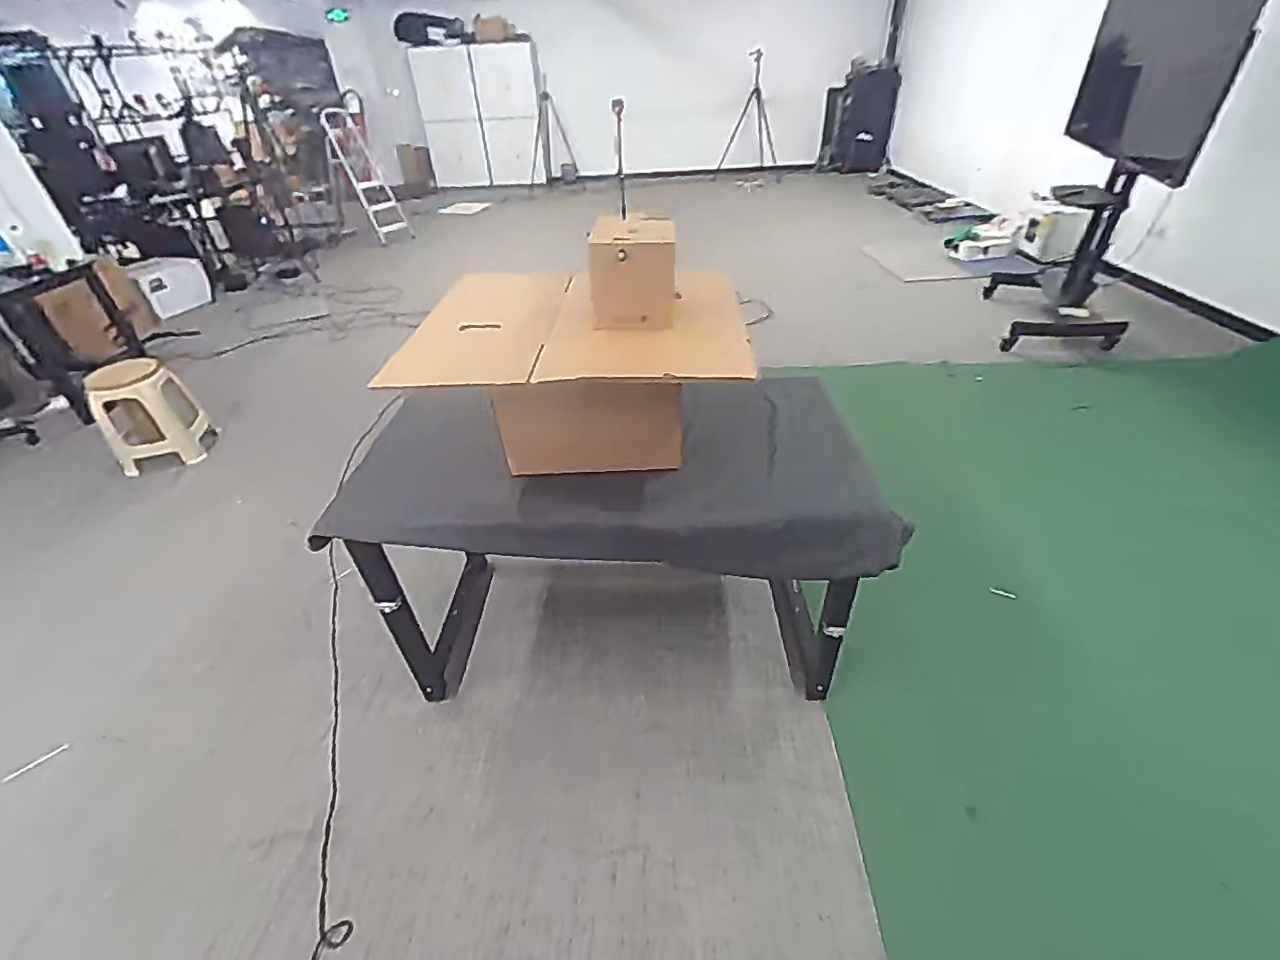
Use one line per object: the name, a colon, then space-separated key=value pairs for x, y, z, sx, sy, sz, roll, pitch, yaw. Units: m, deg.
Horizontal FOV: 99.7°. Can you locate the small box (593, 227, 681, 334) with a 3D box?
small box: x=0.000 y=-0.413 z=1.114 sx=0.168 sy=0.176 sz=0.179 roll=1 pitch=37 yaw=4
